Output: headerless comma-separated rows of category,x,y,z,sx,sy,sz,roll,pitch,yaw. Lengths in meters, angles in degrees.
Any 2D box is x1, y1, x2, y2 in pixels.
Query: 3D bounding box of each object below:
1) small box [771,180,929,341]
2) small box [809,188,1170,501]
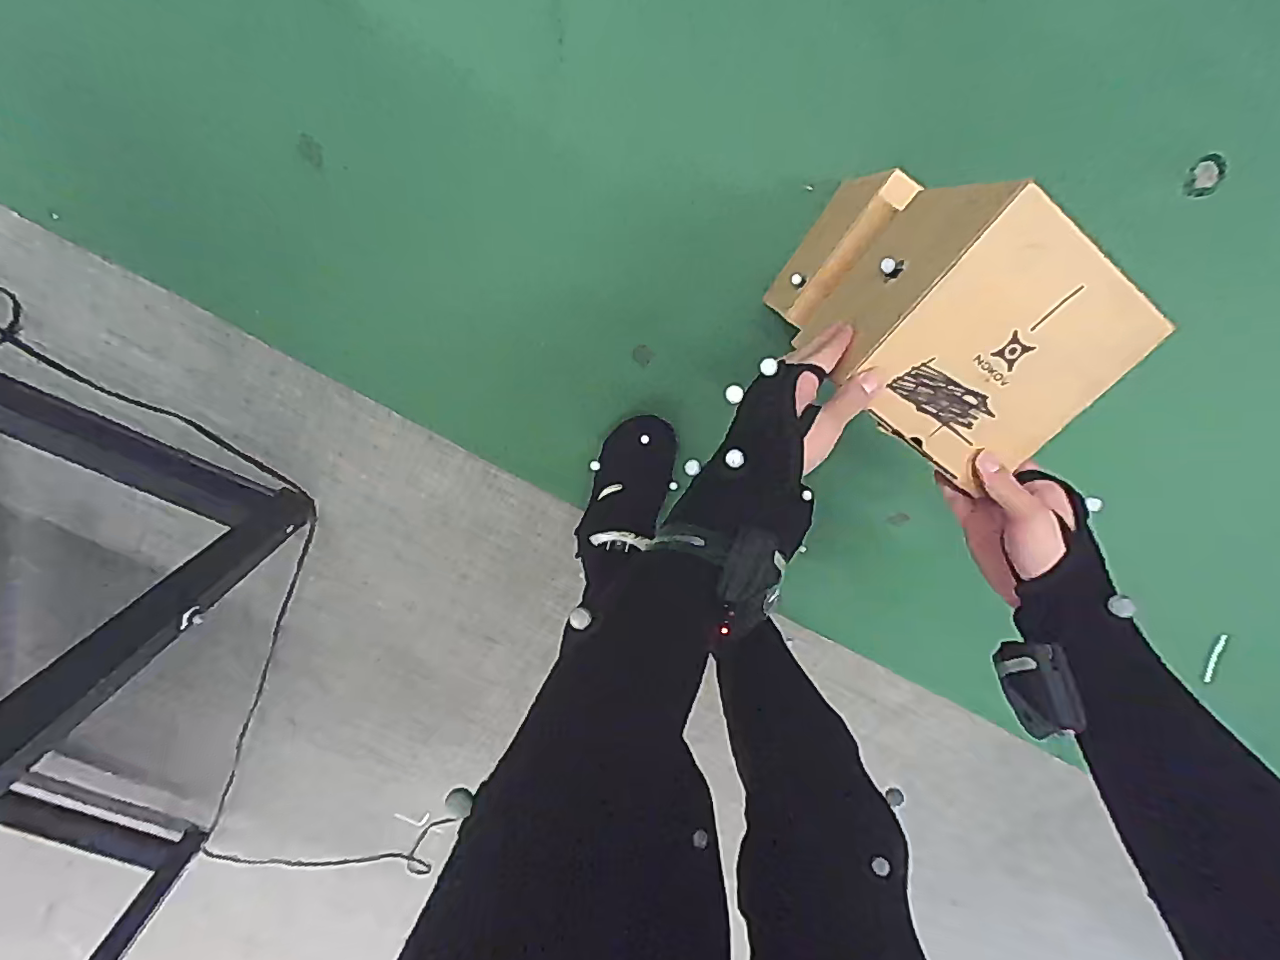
small box,0.282,-0.233,0.659,0.168,0.176,0.179,30,114,-11
small box,0.271,-0.120,0.475,0.168,0.176,0.179,34,111,-14
